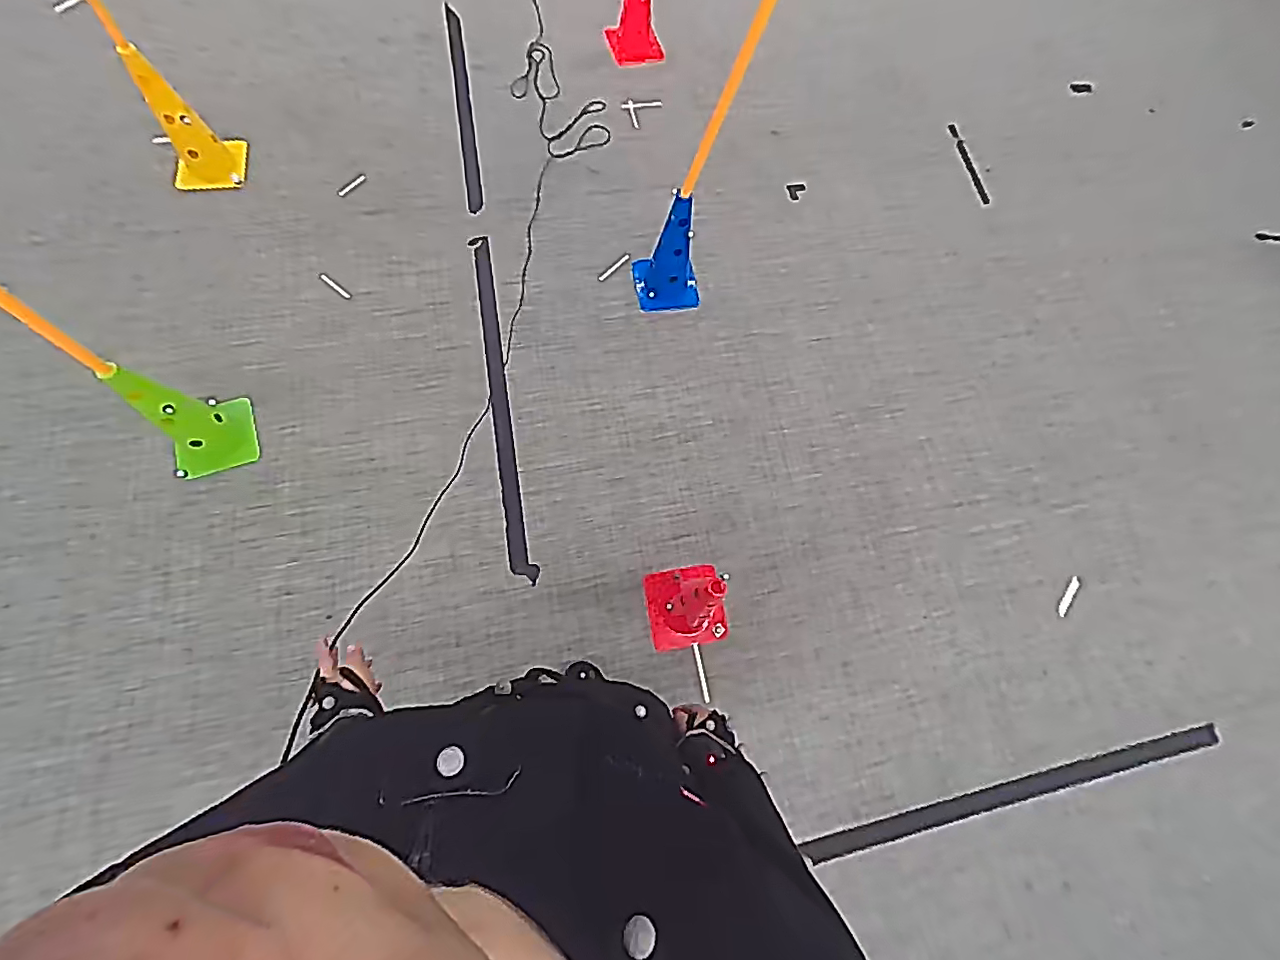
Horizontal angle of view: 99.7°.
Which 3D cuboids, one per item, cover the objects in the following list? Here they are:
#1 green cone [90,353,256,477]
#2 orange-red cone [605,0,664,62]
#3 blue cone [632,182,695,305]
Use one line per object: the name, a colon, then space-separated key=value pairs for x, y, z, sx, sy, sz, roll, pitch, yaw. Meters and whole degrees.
green cone: x=-1.127 y=-0.179 z=1.286 sx=0.200 sy=0.368 sz=0.202 roll=-19 pitch=72 yaw=-12
orange-red cone: x=-0.009 y=-1.756 z=1.940 sx=0.199 sy=0.360 sz=0.198 roll=-14 pitch=72 yaw=-9
blue cone: x=0.093 y=-0.703 z=1.599 sx=0.193 sy=0.380 sz=0.192 roll=-6 pitch=71 yaw=-8
